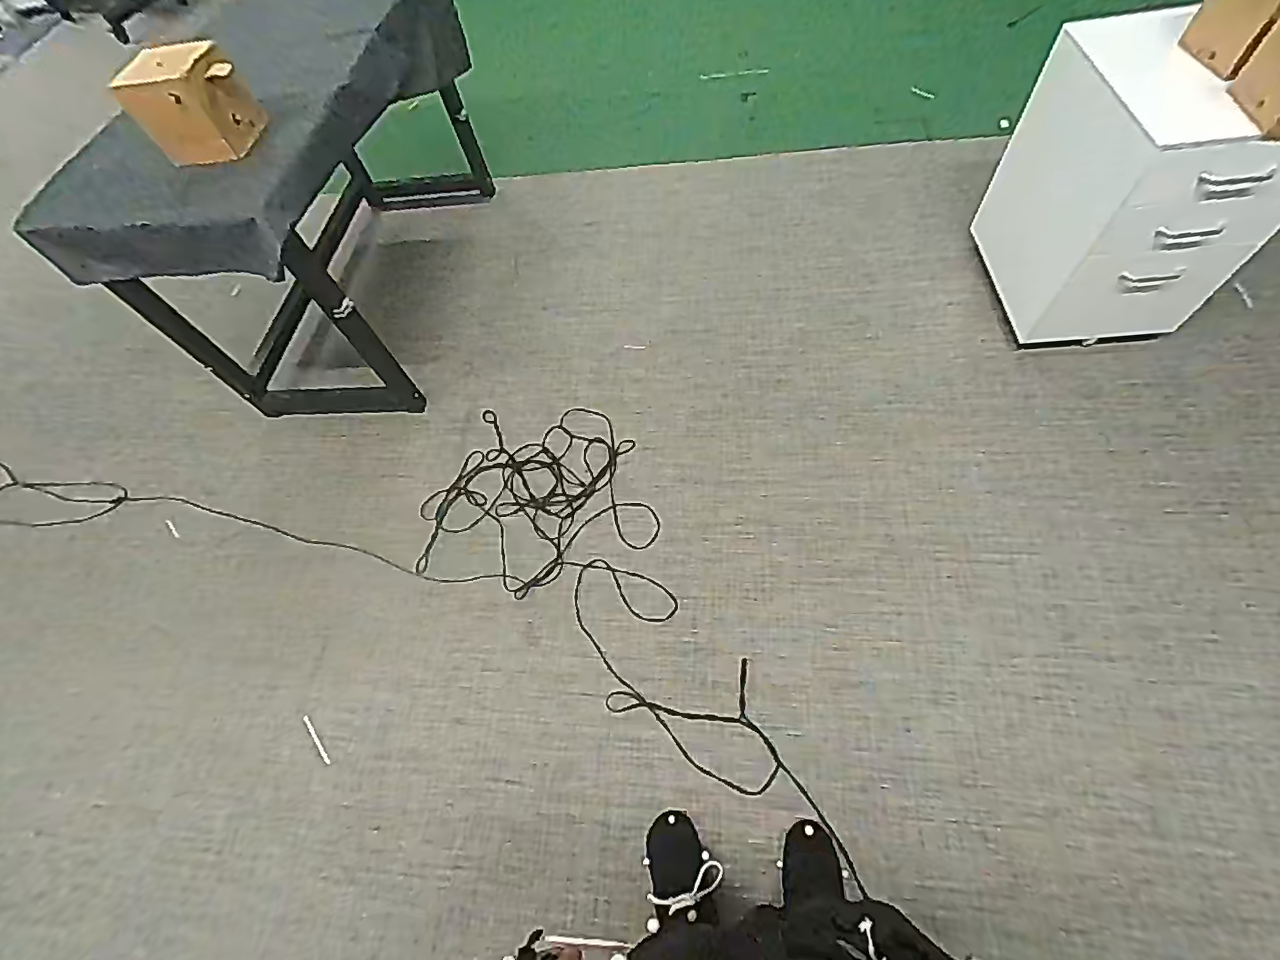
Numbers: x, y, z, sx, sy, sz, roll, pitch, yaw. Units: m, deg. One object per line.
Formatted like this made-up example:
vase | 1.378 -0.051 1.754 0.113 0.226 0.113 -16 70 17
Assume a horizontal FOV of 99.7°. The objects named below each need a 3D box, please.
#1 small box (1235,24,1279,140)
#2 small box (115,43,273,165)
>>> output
small box | 1.265 -0.748 0.987 0.179 0.176 0.168 1 61 8
small box | -0.982 -0.833 1.209 0.179 0.176 0.168 0 60 8
